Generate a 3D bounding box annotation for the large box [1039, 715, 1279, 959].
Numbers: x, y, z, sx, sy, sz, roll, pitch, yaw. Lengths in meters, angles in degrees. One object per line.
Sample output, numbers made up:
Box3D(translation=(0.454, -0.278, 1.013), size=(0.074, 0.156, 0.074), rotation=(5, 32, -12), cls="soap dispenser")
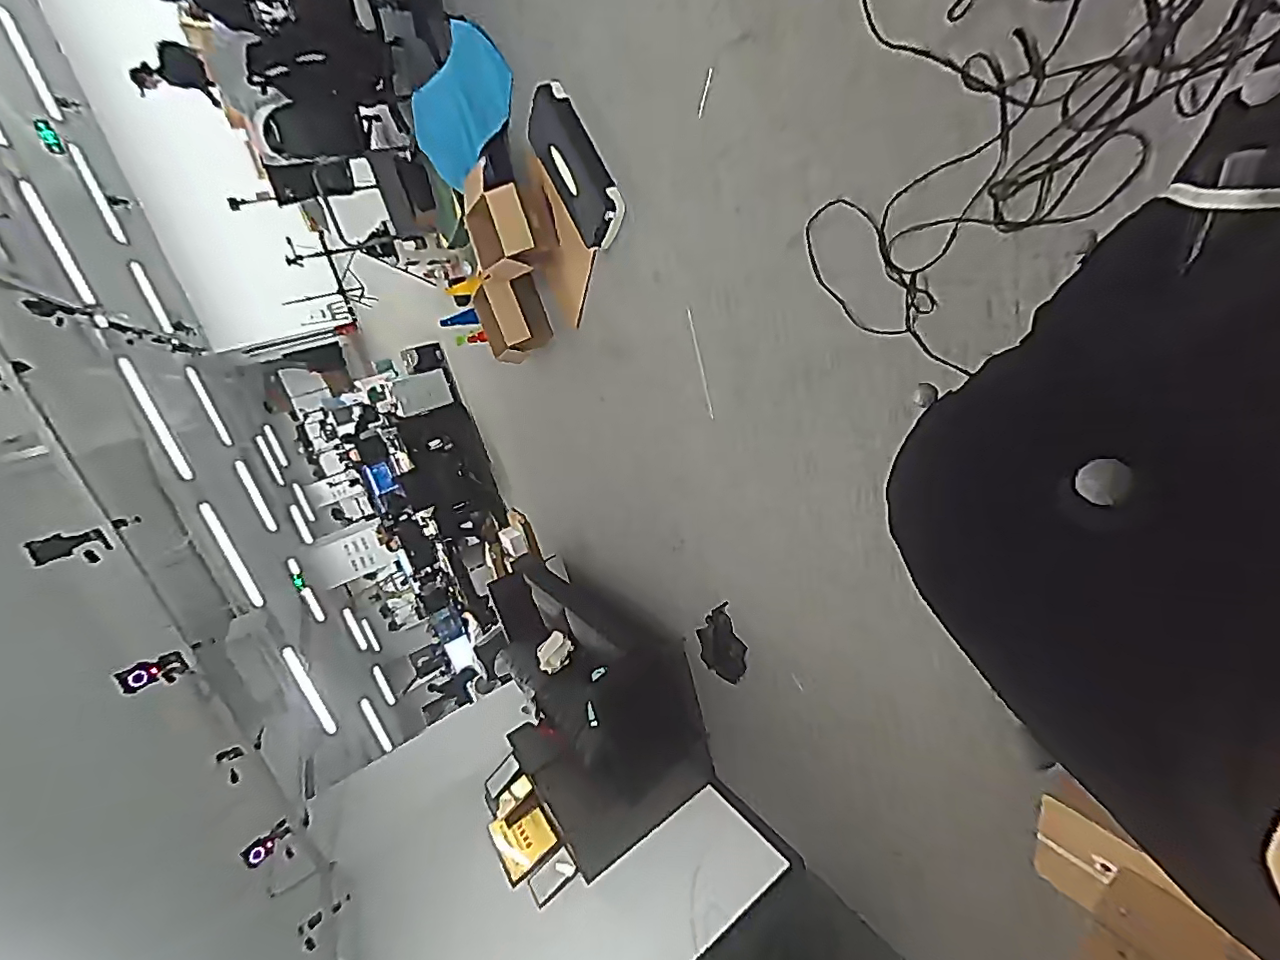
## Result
Box3D(translation=(1.244, 0.851, 1.262), size=(0.408, 0.320, 0.320), rotation=(25, 133, 55), cls="large box")
